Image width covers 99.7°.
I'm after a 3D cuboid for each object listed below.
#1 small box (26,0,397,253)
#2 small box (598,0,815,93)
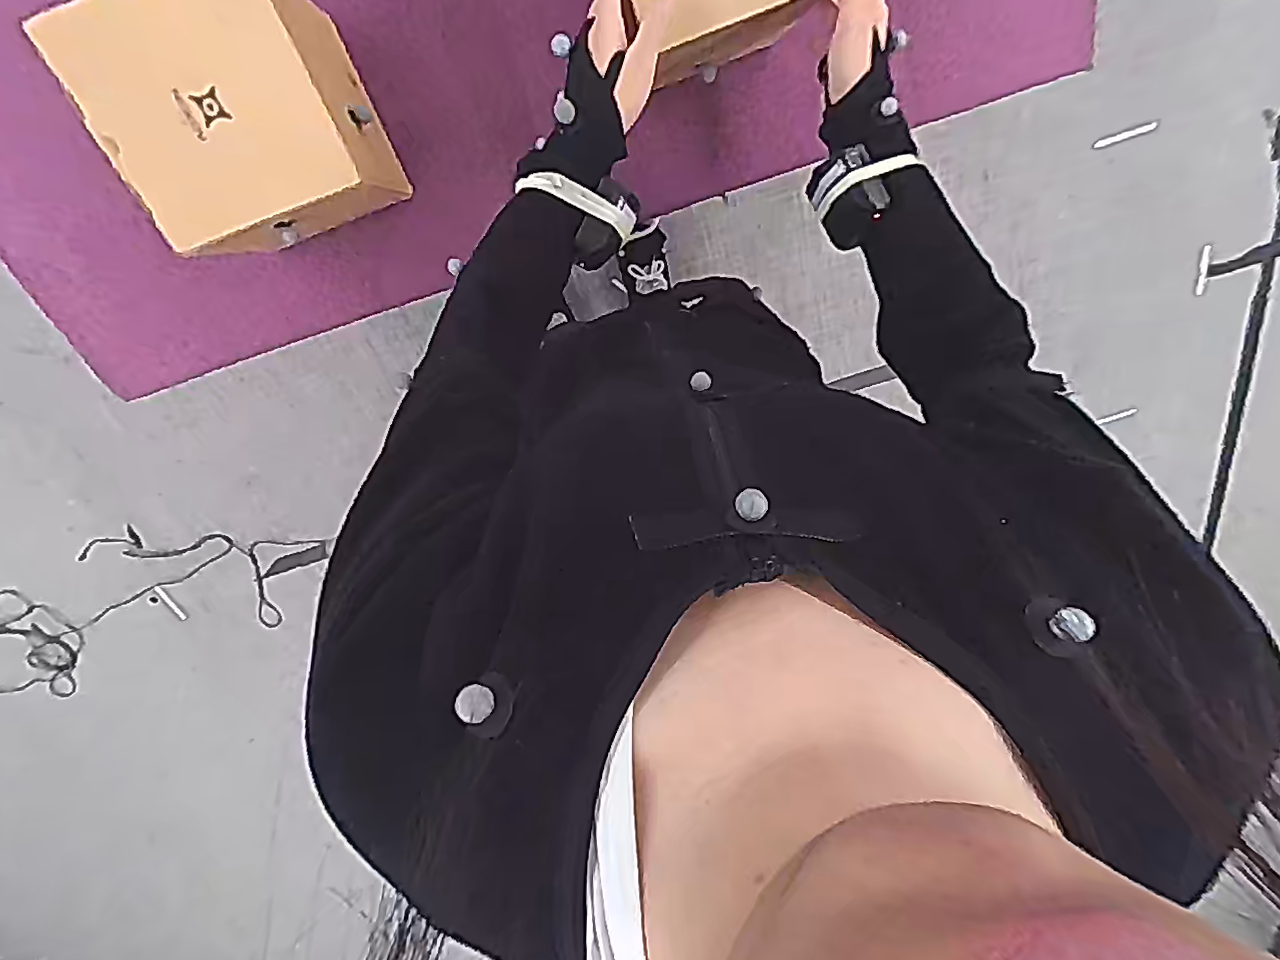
[{"bbox_3d":[-0.348,-0.324,0.493,0.179,0.176,0.168,-20,116,3],"label":"small box"},{"bbox_3d":[0.042,-0.475,0.467,0.168,0.176,0.179,-19,117,3],"label":"small box"}]
